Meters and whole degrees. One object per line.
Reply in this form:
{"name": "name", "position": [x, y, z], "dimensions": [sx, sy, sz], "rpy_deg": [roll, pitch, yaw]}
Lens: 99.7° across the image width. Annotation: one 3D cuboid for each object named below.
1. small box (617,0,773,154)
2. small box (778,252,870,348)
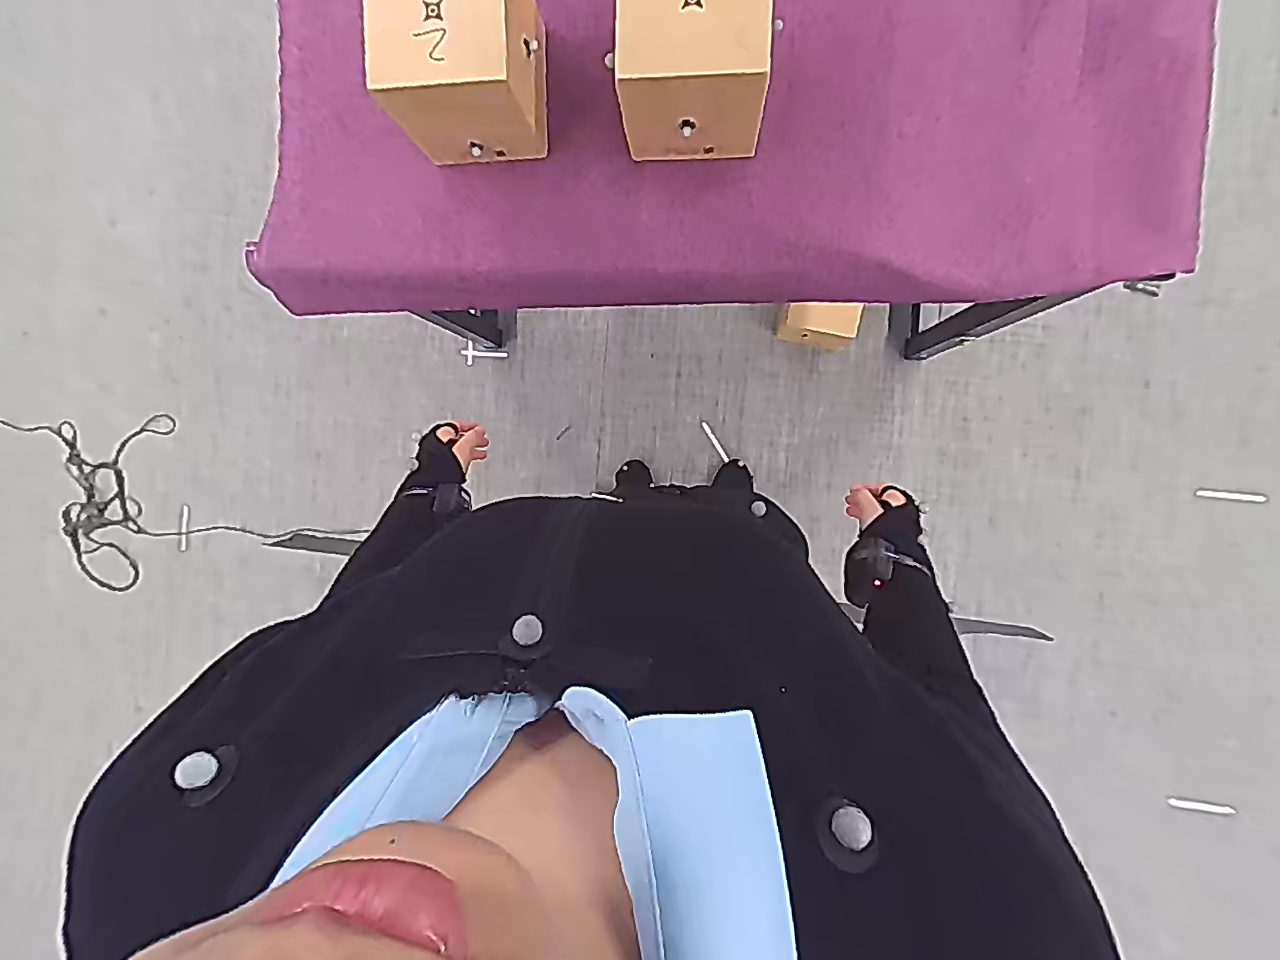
{"name": "small box", "position": [0.067, -0.519, 0.648], "dimensions": [0.168, 0.176, 0.179], "rpy_deg": [2, 93, 5]}
{"name": "small box", "position": [0.449, -0.439, 1.349], "dimensions": [0.168, 0.176, 0.179], "rpy_deg": [13, 94, 6]}
